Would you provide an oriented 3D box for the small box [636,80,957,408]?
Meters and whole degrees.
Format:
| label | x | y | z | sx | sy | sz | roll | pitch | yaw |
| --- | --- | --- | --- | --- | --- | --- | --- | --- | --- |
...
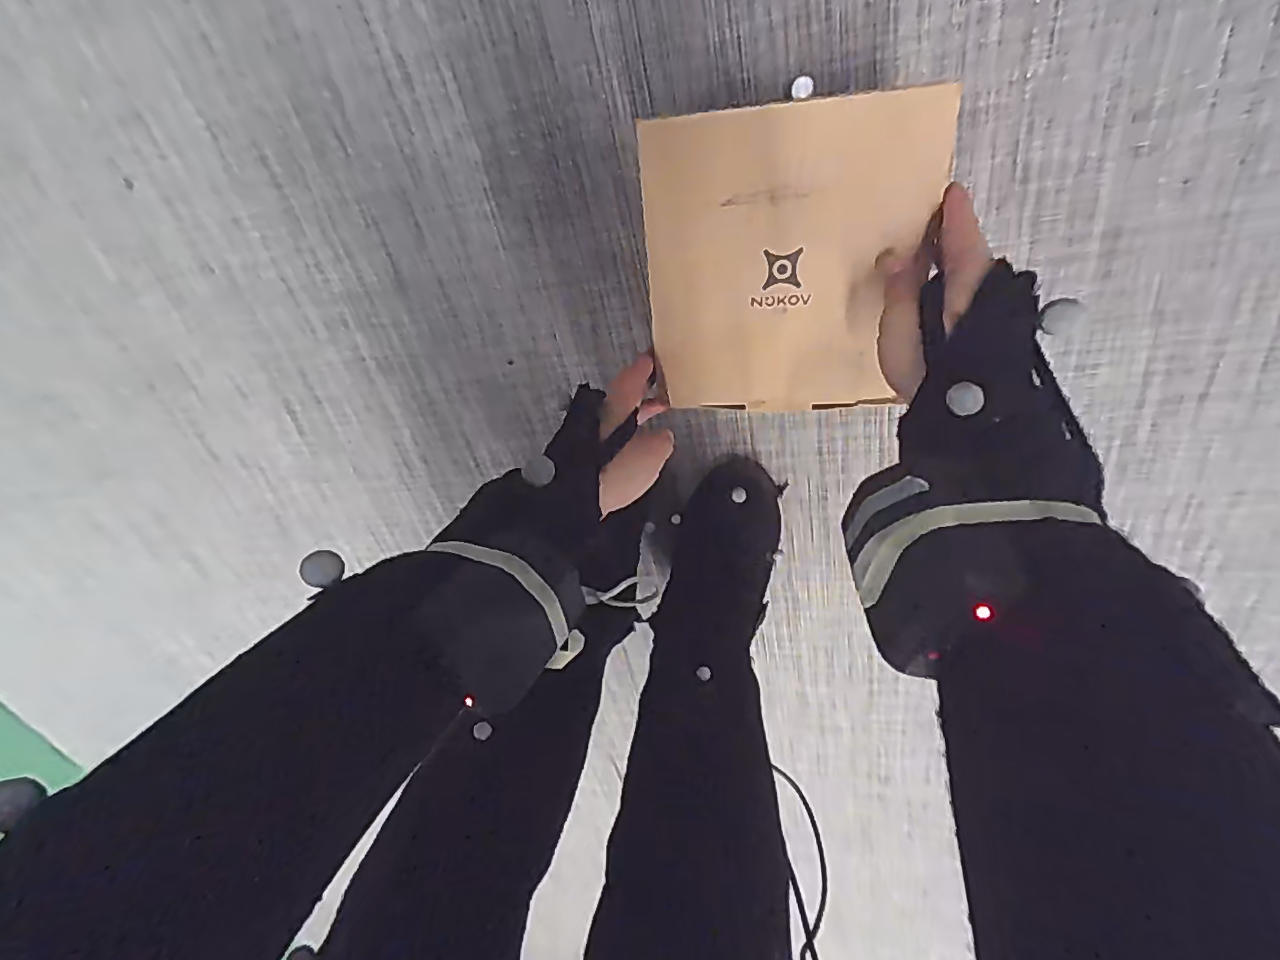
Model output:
| label | x | y | z | sx | sy | sz | roll | pitch | yaw |
| --- | --- | --- | --- | --- | --- | --- | --- | --- | --- |
| small box | 0.099 | -0.166 | 0.390 | 0.168 | 0.176 | 0.179 | 0 | 121 | 12 |
